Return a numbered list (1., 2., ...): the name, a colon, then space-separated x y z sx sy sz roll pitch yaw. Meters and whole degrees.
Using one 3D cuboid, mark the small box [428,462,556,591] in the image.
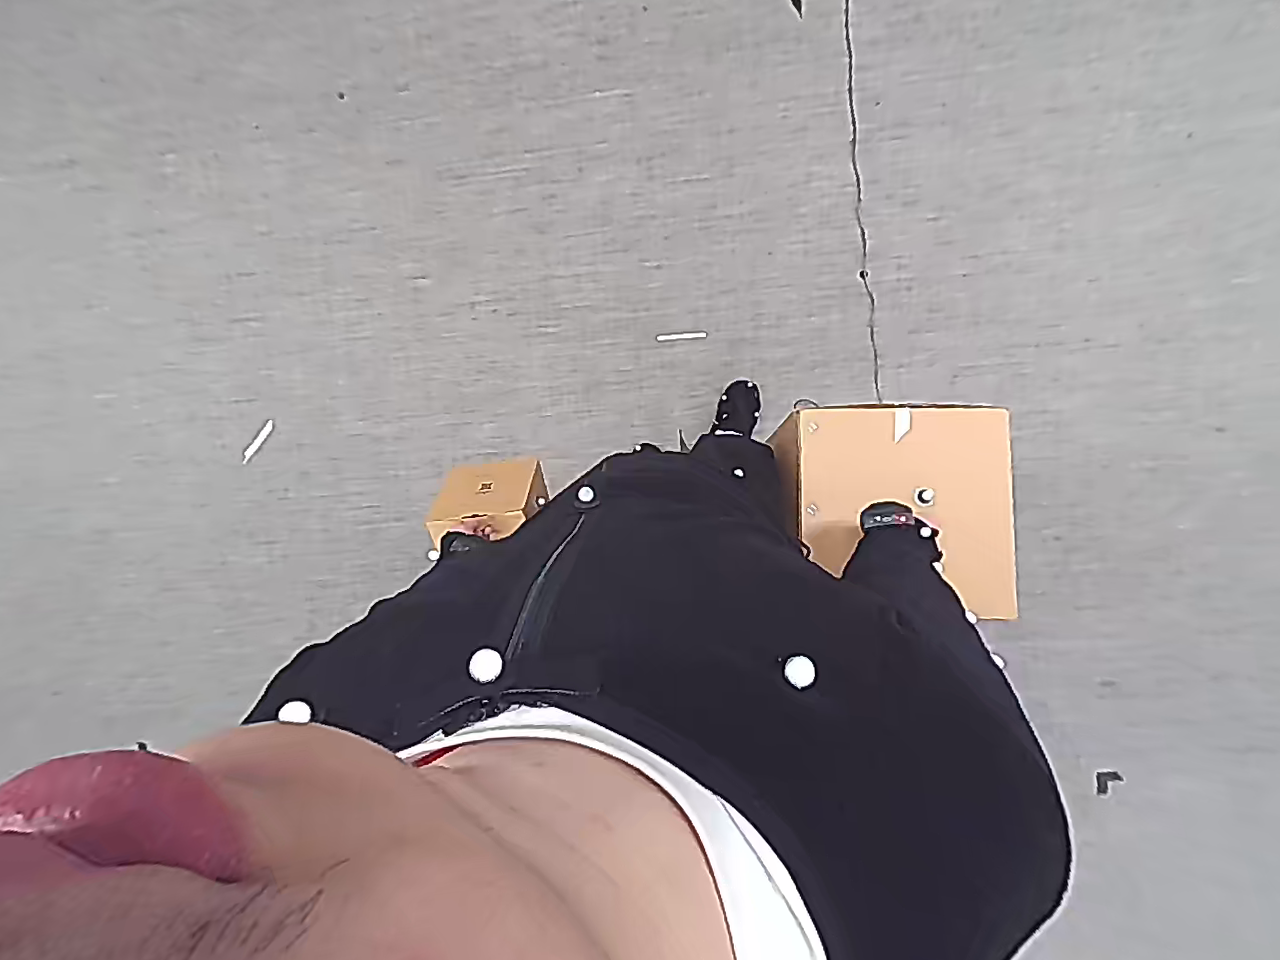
1. small box: -0.258 0.089 0.992 0.168 0.179 0.176 -7 121 3
